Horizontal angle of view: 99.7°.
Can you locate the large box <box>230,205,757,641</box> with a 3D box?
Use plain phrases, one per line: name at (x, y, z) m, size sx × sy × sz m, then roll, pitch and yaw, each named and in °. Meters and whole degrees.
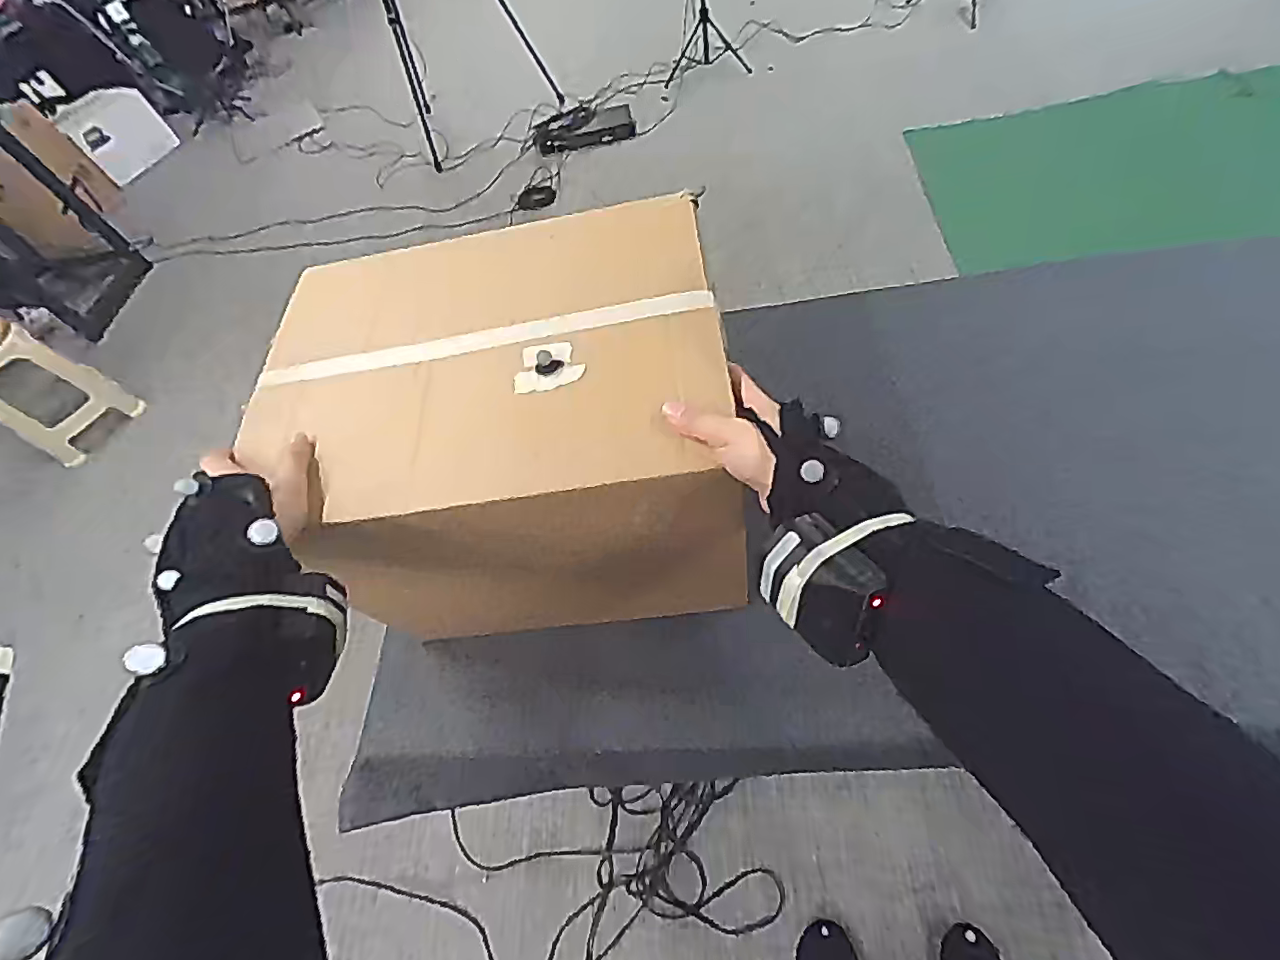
large box at (-0.103, -0.035, 0.590) m, size 0.408 × 0.320 × 0.320 m, roll -8°, pitch 59°, yaw 6°
